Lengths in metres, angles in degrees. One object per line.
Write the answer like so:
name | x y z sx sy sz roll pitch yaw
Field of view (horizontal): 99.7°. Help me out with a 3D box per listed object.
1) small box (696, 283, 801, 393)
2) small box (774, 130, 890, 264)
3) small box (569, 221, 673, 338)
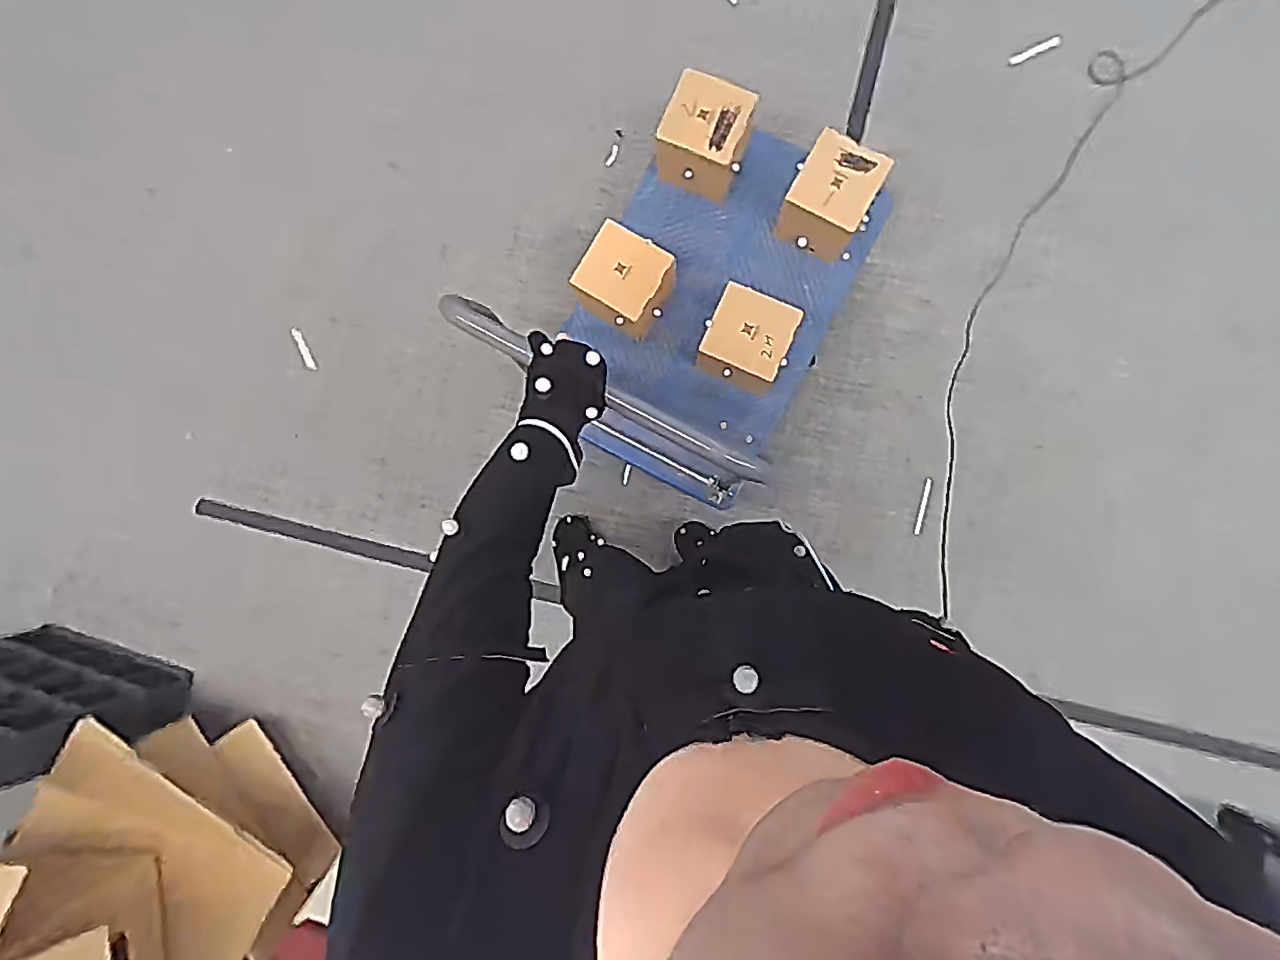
small box | 0.237 -0.313 1.232 0.179 0.176 0.168 25 91 4
small box | 0.422 -0.630 1.224 0.168 0.176 0.179 30 92 4
small box | -0.039 -0.453 1.255 0.179 0.176 0.168 31 91 2
